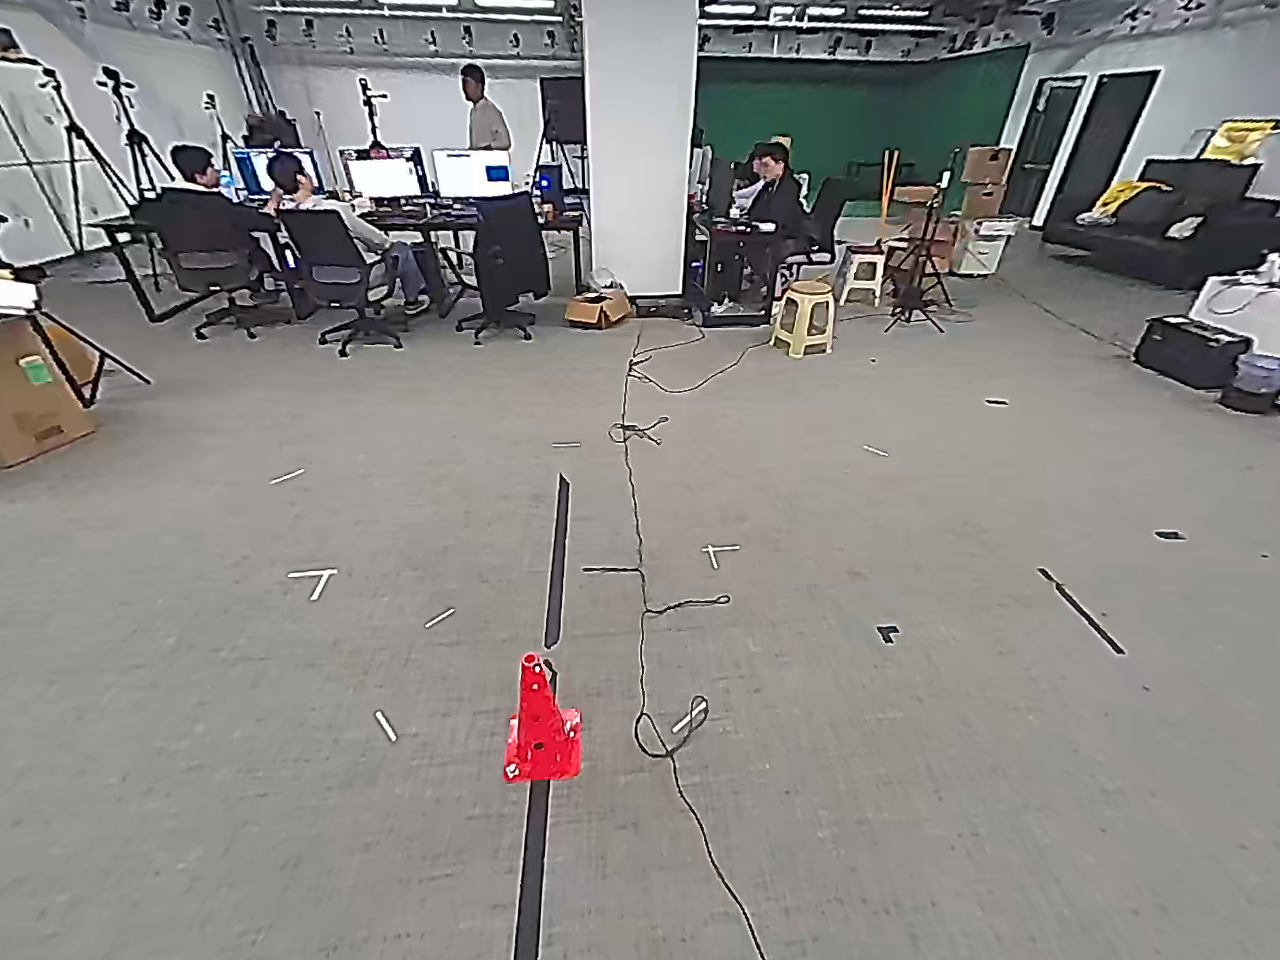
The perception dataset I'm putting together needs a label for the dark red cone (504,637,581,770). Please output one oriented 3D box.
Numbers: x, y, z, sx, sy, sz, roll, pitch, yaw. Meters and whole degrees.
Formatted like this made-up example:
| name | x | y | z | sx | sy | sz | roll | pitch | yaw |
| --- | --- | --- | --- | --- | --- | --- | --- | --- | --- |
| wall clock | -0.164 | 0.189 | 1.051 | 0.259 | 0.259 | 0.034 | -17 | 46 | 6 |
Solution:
| name | x | y | z | sx | sy | sz | roll | pitch | yaw |
| --- | --- | --- | --- | --- | --- | --- | --- | --- | --- |
| dark red cone | -0.256 | 0.549 | 1.372 | 0.201 | 0.394 | 0.202 | -1 | 33 | -5 |
